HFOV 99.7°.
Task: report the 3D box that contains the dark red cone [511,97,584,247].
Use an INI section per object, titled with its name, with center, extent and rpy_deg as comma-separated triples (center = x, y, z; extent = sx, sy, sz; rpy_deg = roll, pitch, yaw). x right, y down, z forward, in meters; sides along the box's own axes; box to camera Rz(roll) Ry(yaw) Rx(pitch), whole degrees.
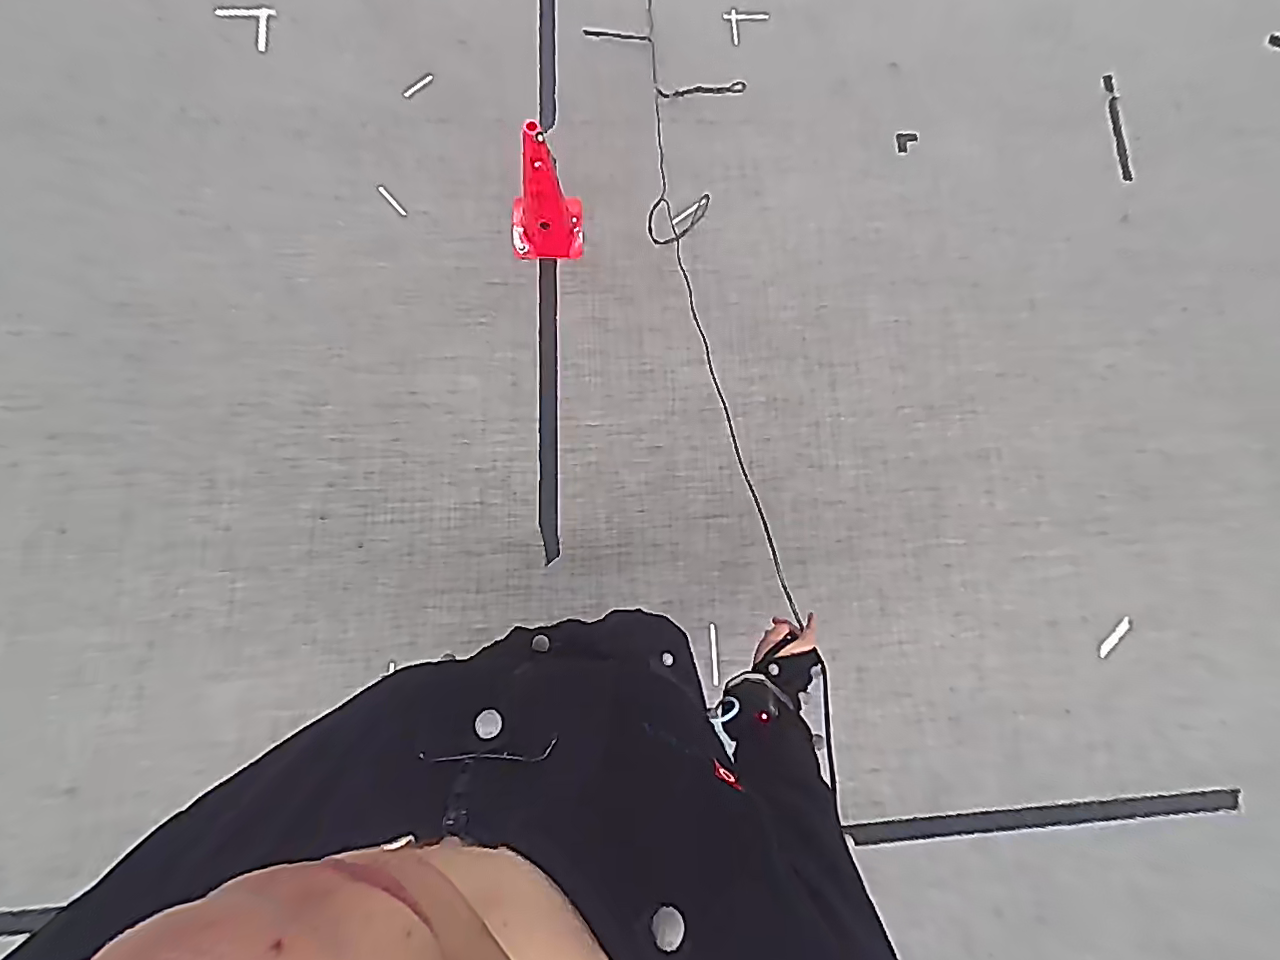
[dark red cone]
center = -0.249, -0.783, 1.373
extent = 0.201, 0.394, 0.202
rpy_deg = -2, 79, -5
